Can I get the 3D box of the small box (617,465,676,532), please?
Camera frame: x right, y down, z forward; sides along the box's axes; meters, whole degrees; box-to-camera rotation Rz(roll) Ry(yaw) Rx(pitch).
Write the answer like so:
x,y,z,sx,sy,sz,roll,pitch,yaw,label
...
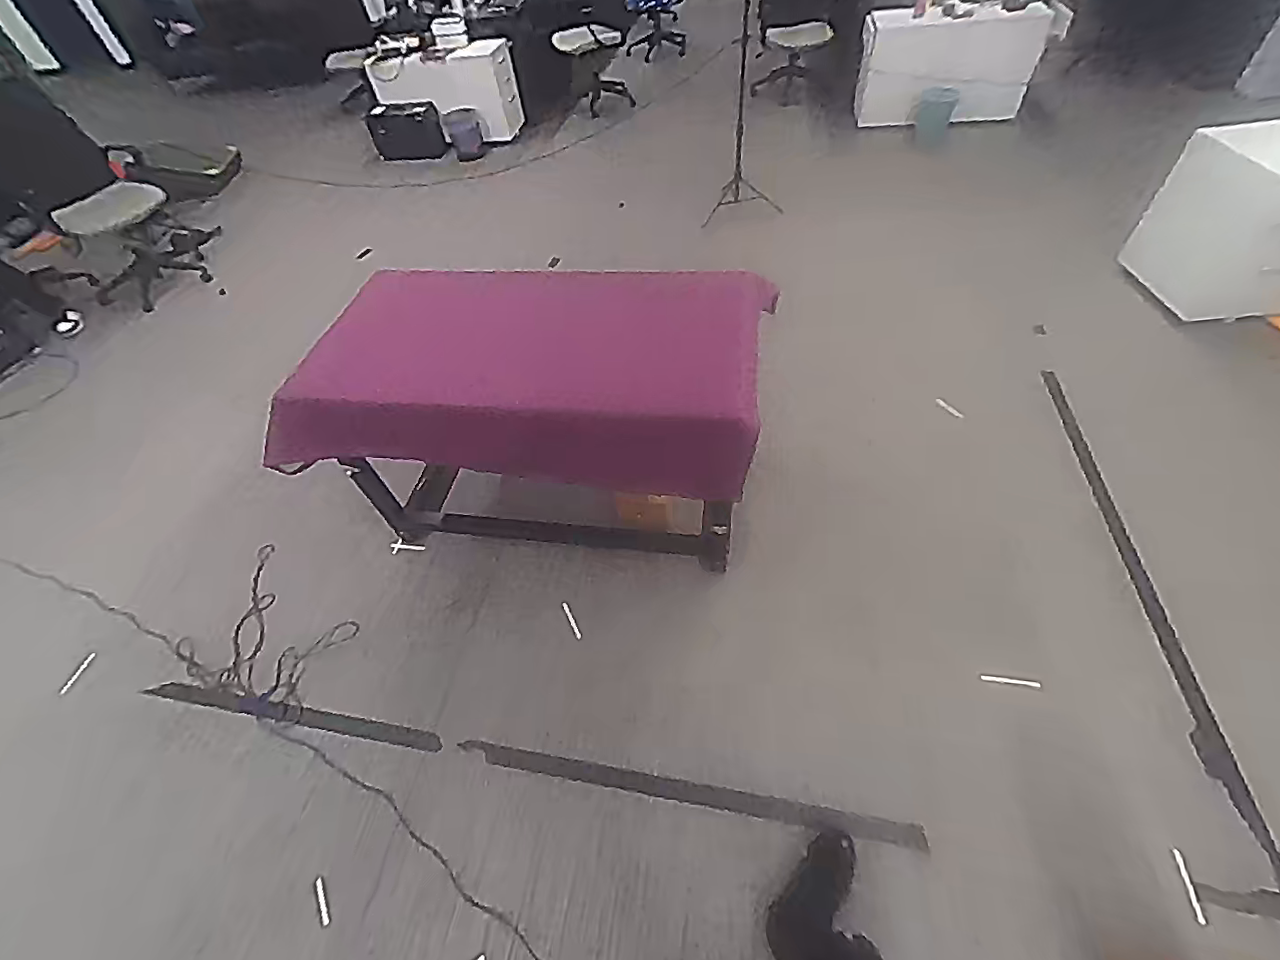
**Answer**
x,y,z,sx,sy,sz,roll,pitch,yaw,label
0.029,0.069,1.903,0.179,0.176,0.168,4,51,11,small box
